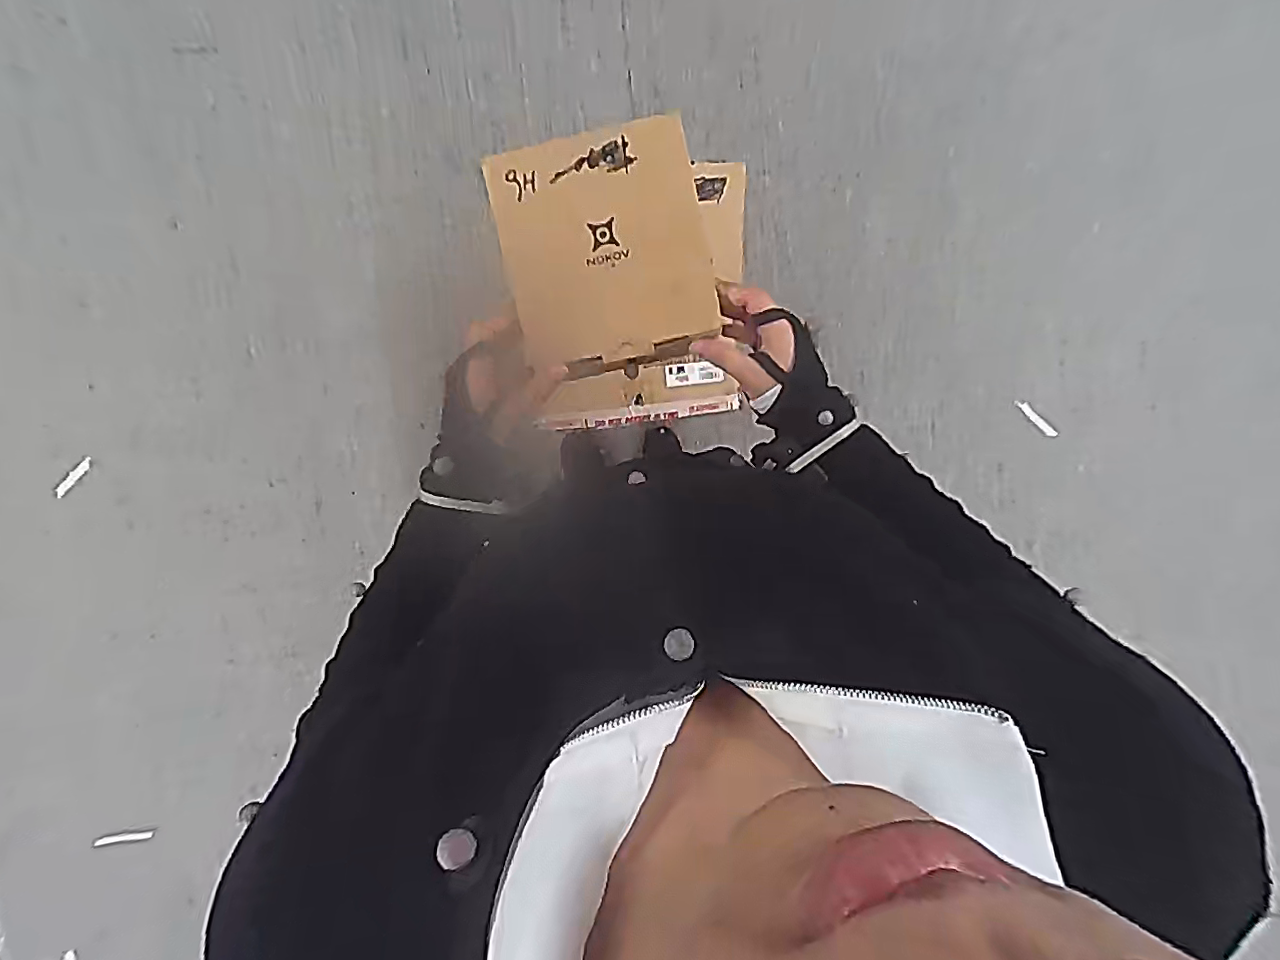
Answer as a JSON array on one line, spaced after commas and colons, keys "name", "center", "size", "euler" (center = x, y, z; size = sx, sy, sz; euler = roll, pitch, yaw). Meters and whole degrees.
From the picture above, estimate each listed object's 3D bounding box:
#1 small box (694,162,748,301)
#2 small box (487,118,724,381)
[{"name": "small box", "center": [0.066, -0.385, 0.867], "size": [0.168, 0.176, 0.179], "euler": [-1, 100, -7]}, {"name": "small box", "center": [-0.024, -0.197, 0.518], "size": [0.168, 0.176, 0.179], "euler": [-13, 98, 2]}]
